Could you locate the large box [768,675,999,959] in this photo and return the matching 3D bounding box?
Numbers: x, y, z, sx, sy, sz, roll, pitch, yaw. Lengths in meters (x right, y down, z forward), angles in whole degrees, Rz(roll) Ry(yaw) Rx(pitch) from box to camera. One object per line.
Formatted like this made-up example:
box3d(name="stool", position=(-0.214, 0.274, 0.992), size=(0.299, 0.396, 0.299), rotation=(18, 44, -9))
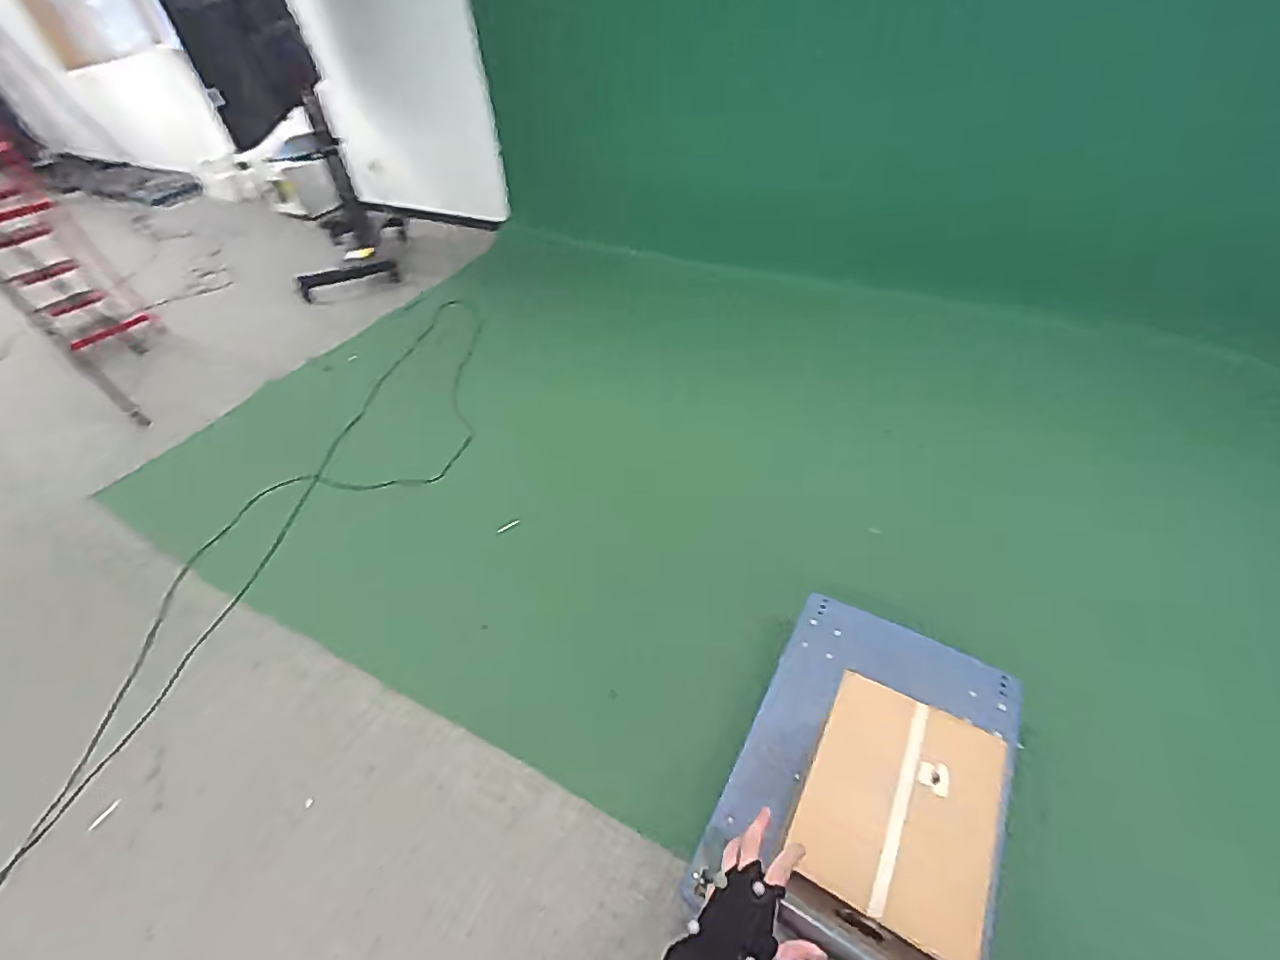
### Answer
box3d(name="large box", position=(0.485, 0.702, 1.106), size=(0.320, 0.320, 0.408), rotation=(21, 50, 23))
